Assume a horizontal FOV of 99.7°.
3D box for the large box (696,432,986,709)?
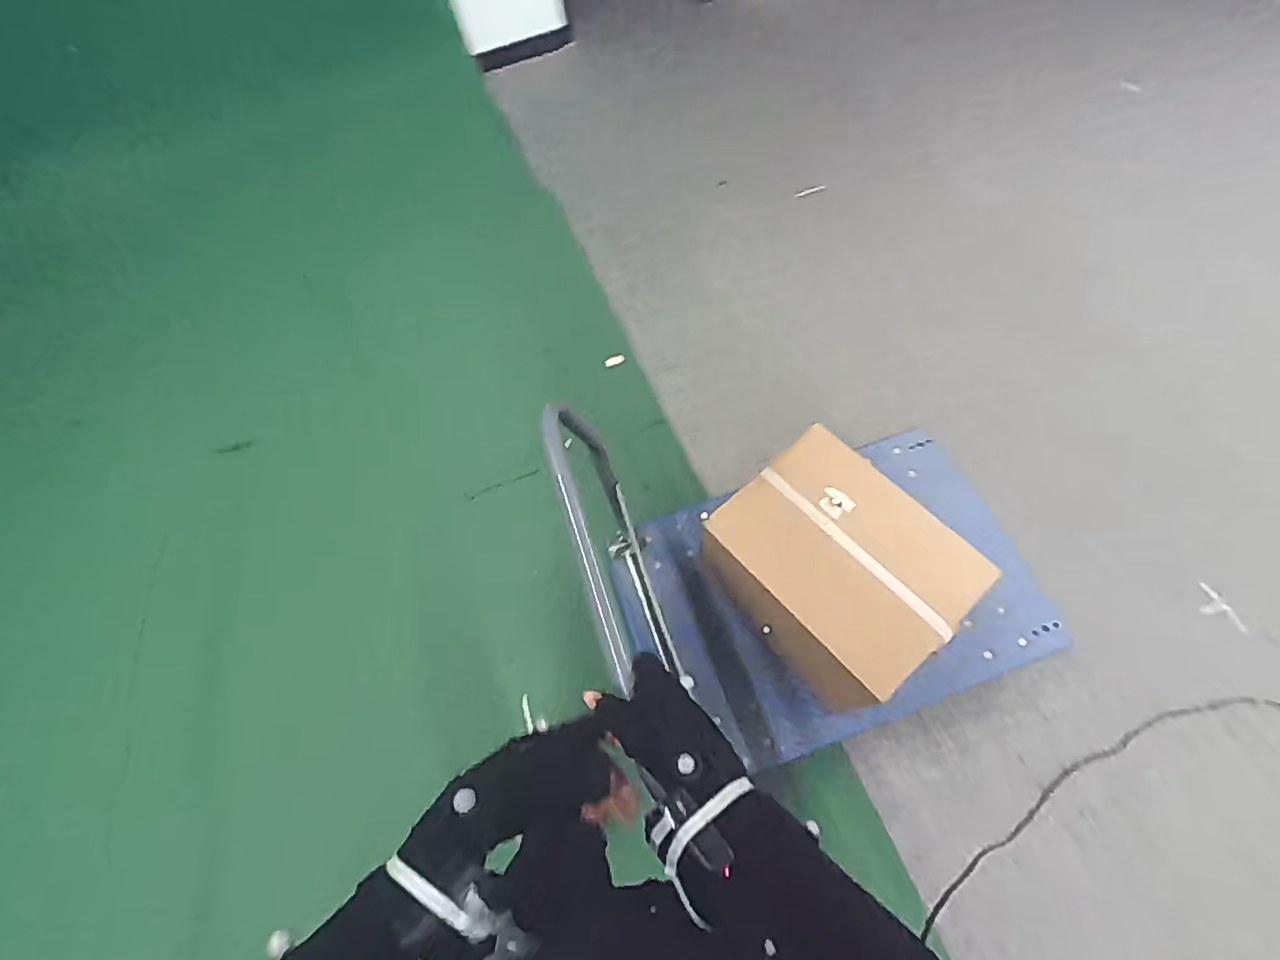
[{"bbox_3d":[0.360,0.190,1.085,0.320,0.320,0.408,-39,66,-14],"label":"large box"}]
